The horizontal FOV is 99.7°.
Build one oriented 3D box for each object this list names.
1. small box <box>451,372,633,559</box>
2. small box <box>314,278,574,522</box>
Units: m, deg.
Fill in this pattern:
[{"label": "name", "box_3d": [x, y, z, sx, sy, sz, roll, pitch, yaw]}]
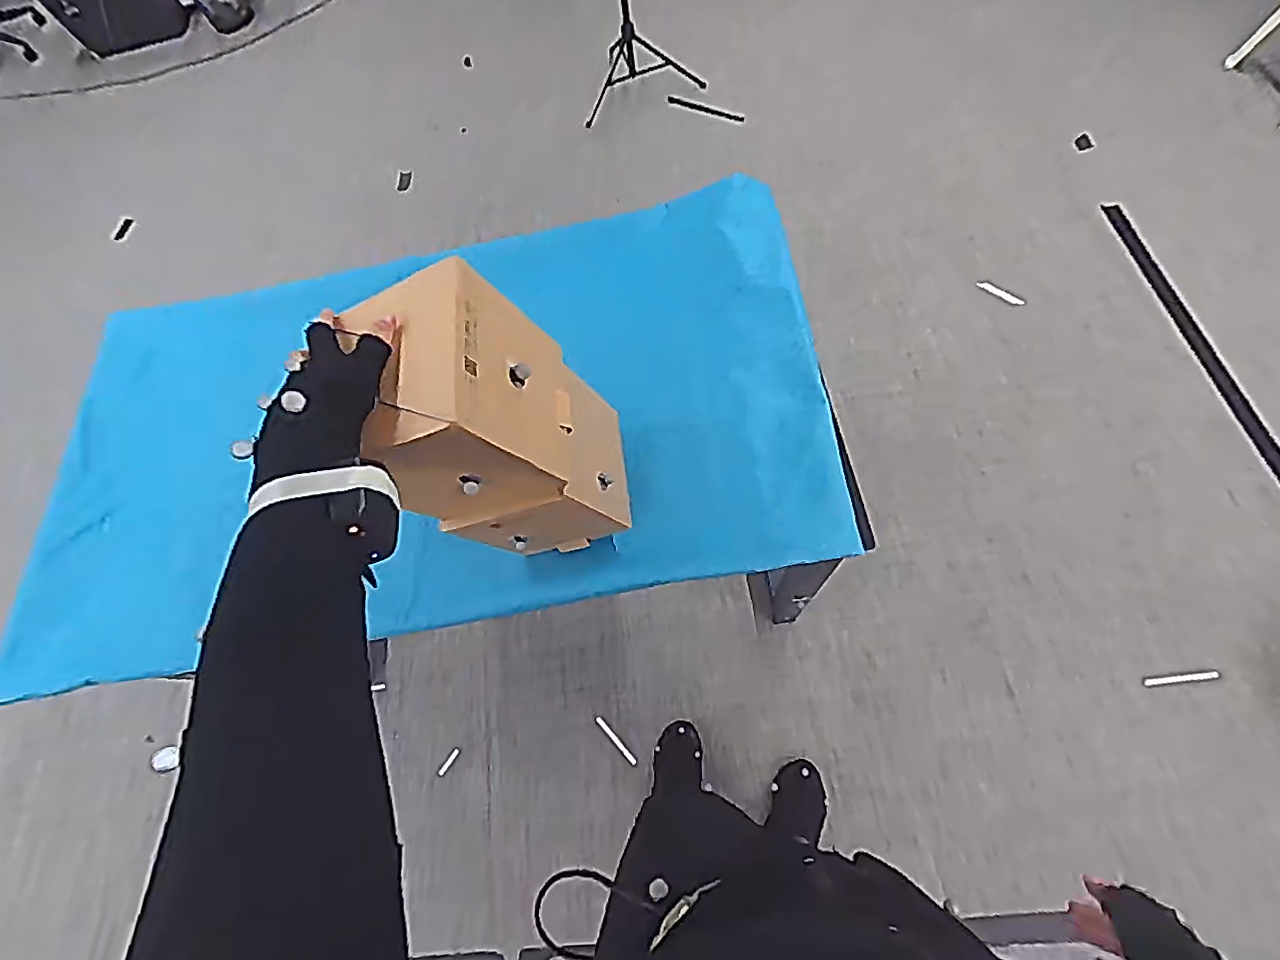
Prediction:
[{"label": "small box", "box_3d": [-0.125, -0.015, 0.682, 0.168, 0.176, 0.179, -17, 67, 20]}, {"label": "small box", "box_3d": [-0.188, -0.070, 0.541, 0.179, 0.176, 0.168, -16, 66, 23]}]
